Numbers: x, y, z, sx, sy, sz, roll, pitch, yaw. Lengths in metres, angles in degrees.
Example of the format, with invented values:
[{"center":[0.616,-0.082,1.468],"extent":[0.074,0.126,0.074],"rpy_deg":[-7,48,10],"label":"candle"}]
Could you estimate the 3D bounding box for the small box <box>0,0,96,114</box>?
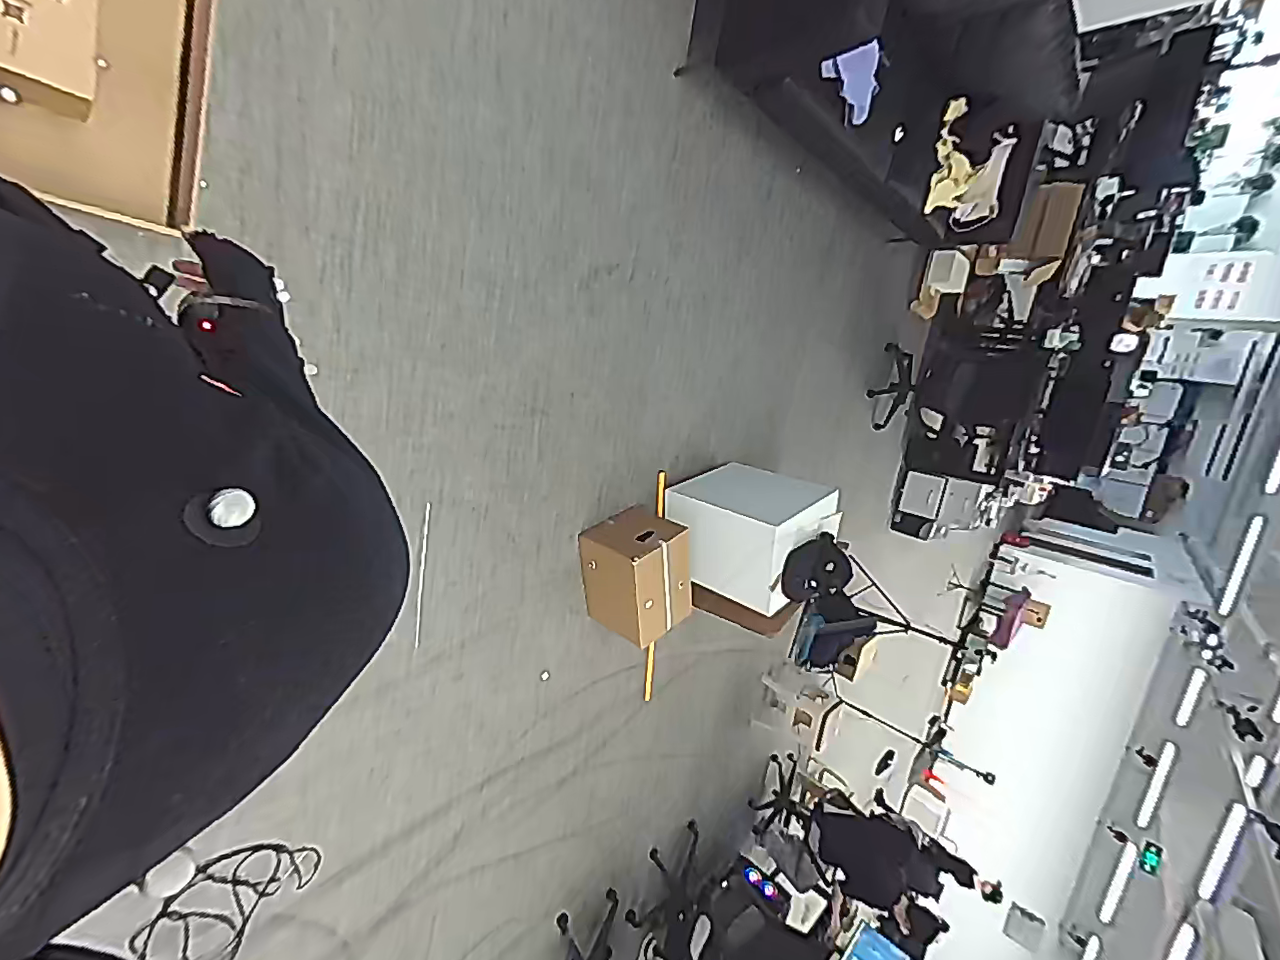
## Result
[{"center":[-0.934,-0.687,0.802],"extent":[0.168,0.176,0.179],"rpy_deg":[0,103,-49],"label":"small box"}]
